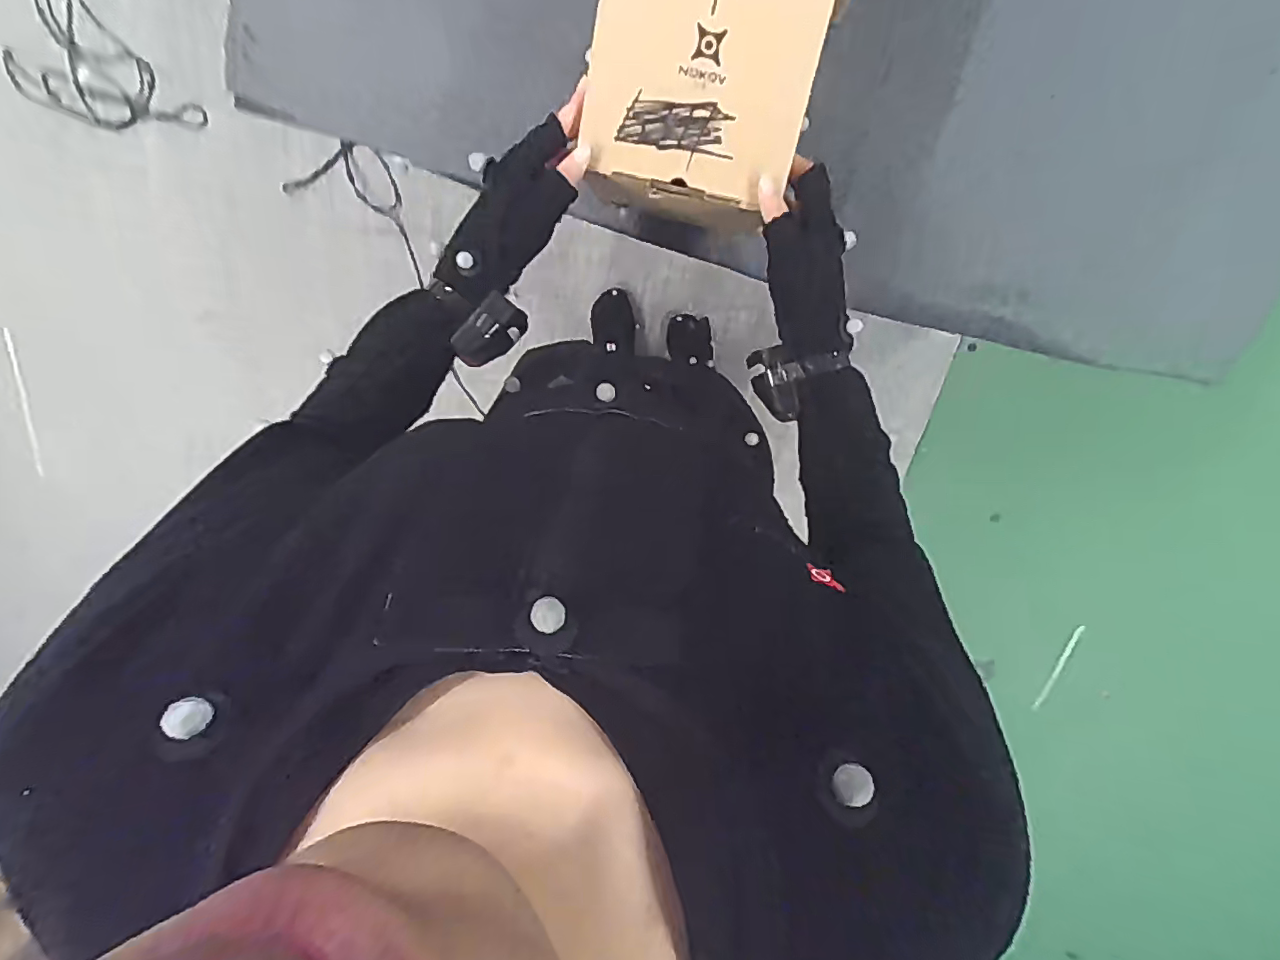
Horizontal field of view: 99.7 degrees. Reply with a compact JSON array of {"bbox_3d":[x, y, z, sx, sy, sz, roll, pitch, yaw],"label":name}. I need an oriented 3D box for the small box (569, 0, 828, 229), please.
[{"bbox_3d":[0.044,-0.331,0.468,0.168,0.176,0.179,11,108,-3],"label":"small box"}]
